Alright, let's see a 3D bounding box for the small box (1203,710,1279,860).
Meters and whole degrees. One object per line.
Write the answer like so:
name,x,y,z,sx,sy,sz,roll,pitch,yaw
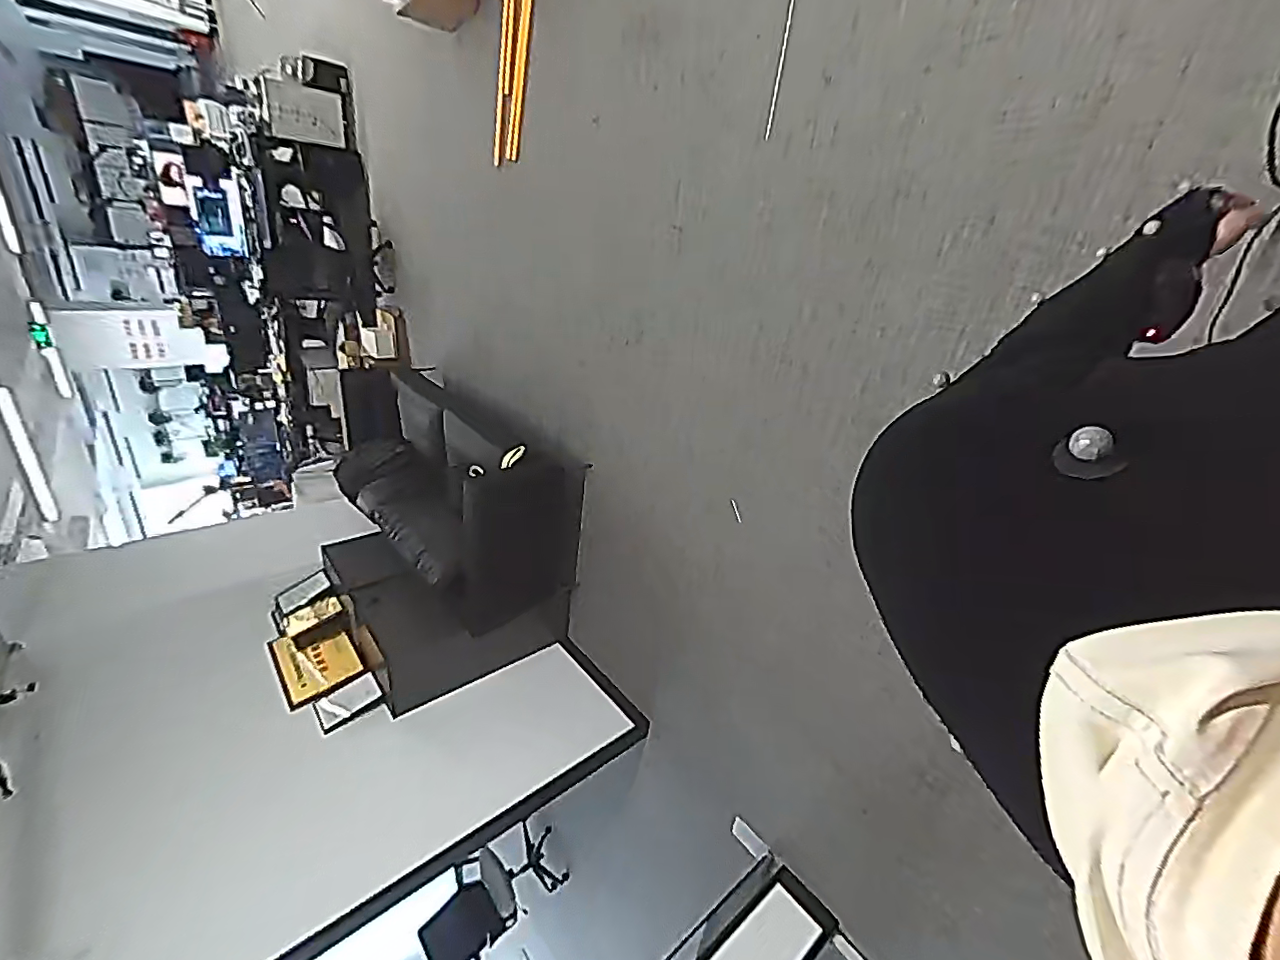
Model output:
small box,1.156,0.550,0.947,0.168,0.176,0.179,34,128,39
